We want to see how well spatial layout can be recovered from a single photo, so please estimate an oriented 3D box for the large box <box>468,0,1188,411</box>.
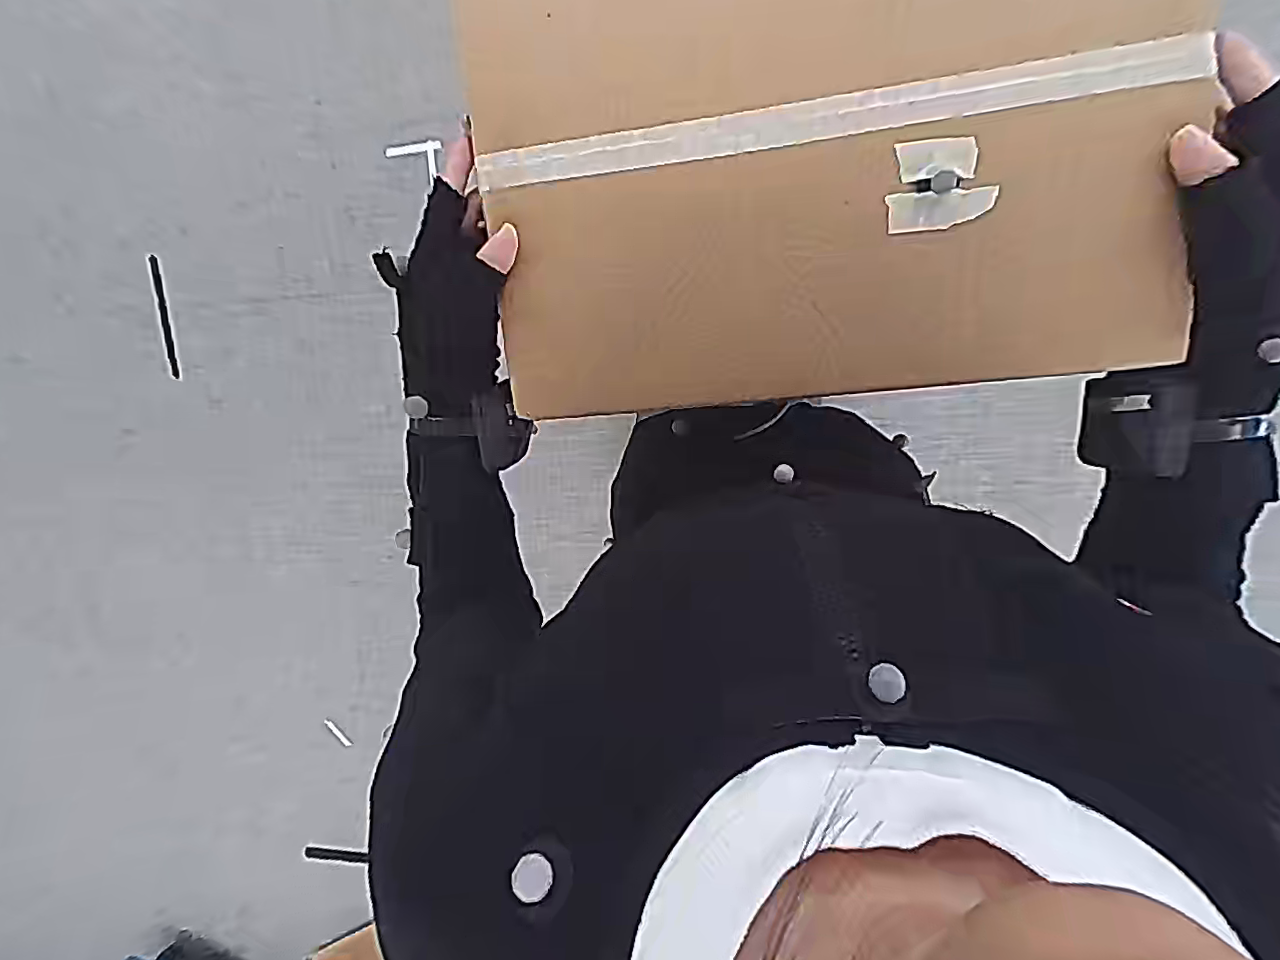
[{"bbox_3d":[0.116,-0.244,0.469,0.408,0.320,0.320,-5,102,7],"label":"large box"}]
